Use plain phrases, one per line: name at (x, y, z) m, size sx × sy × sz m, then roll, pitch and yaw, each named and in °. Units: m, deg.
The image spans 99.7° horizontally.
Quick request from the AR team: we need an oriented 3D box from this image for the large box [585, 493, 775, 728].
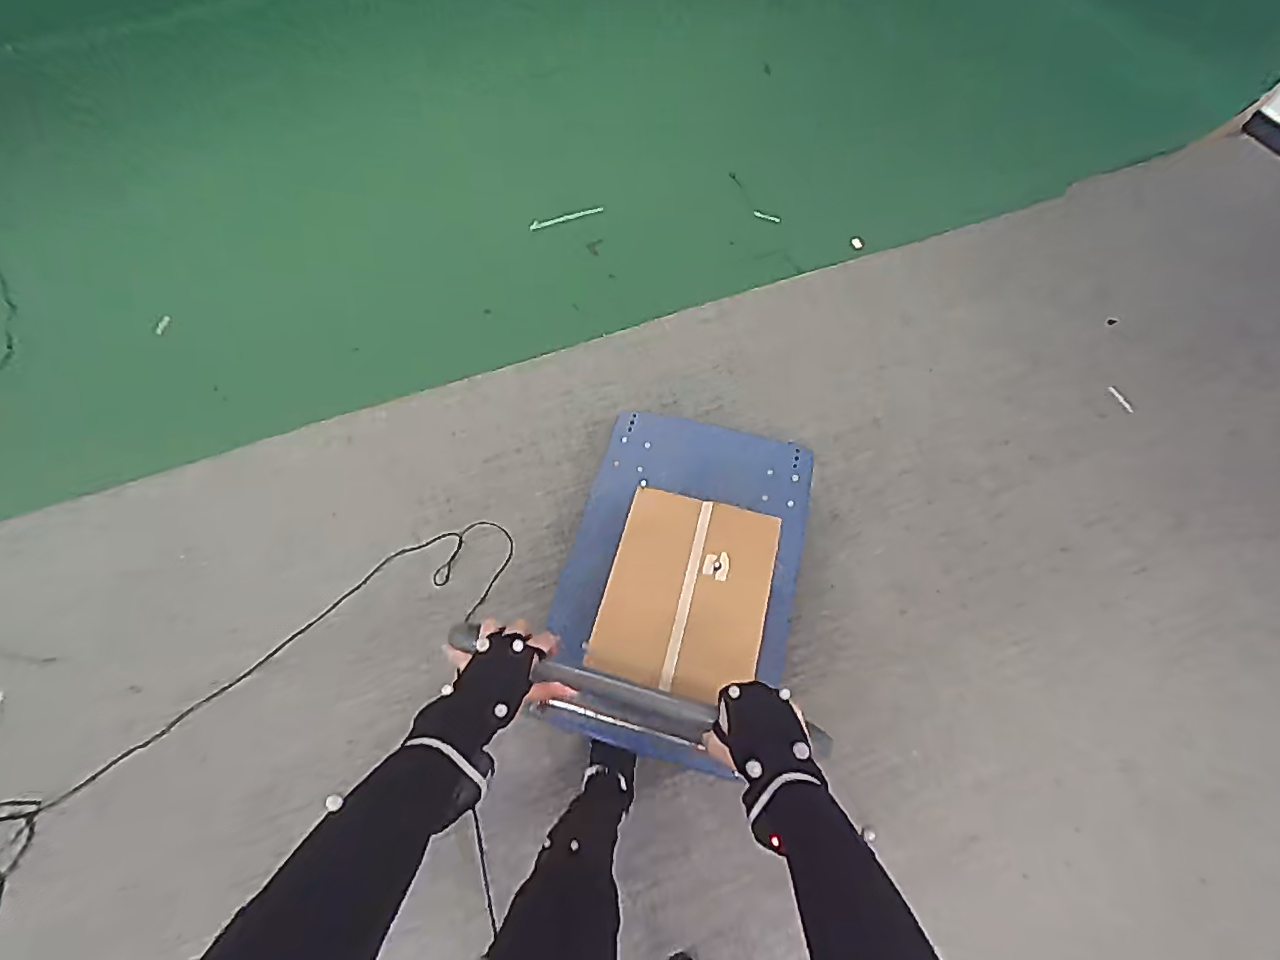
large box at (0.097, 0.299, 1.211) m, size 0.320 × 0.320 × 0.408 m, roll 13°, pitch 64°, yaw 9°
